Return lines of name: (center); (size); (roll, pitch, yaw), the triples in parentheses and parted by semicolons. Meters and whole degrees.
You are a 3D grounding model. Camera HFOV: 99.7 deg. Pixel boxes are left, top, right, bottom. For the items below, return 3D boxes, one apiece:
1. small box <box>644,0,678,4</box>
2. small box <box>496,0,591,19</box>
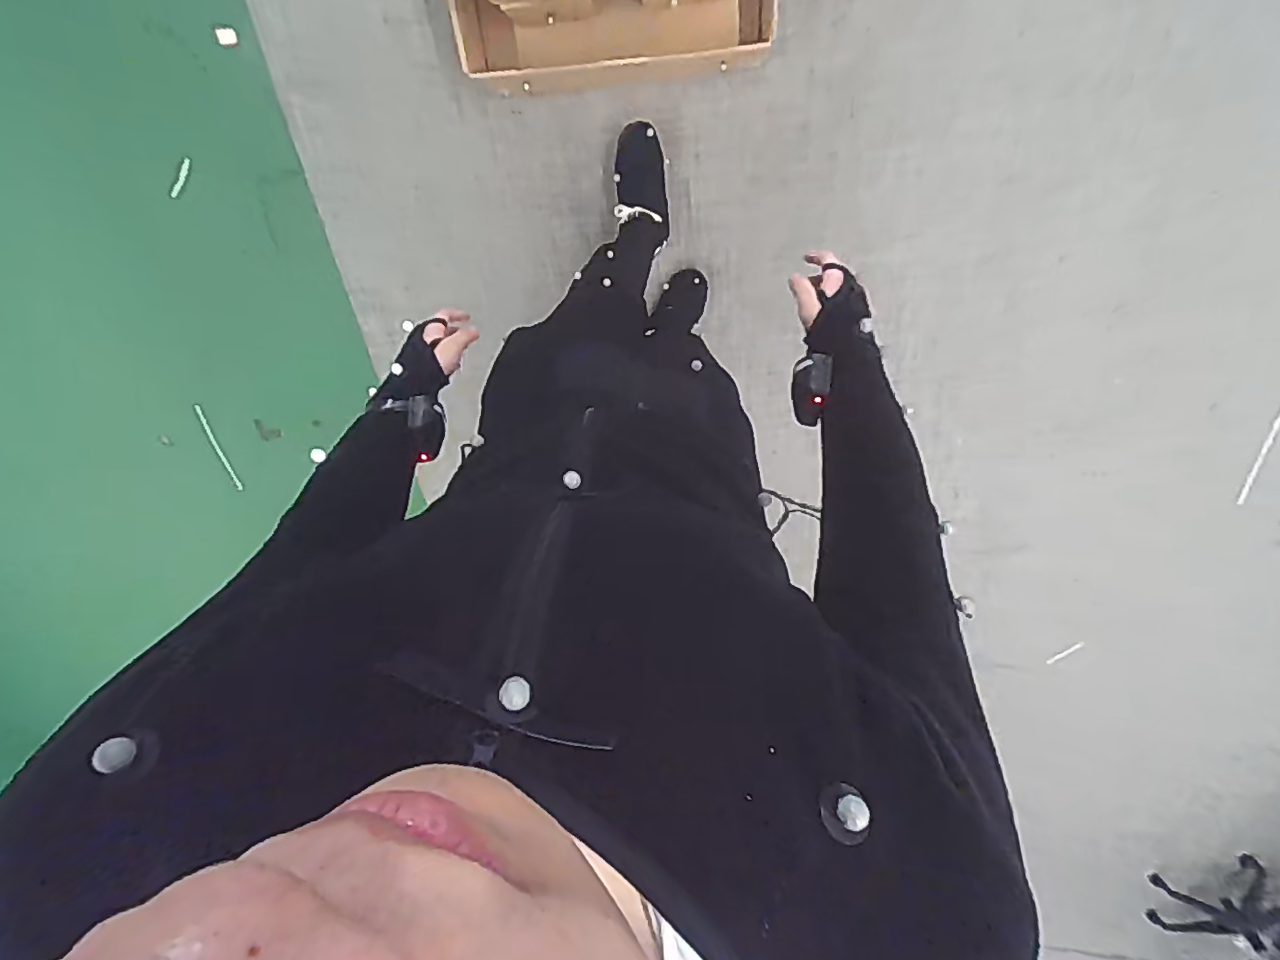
small box: (0.070, -1.011, 0.997); (0.168, 0.176, 0.179); (-3, 120, 6)
small box: (-0.191, -1.001, 1.020); (0.168, 0.176, 0.179); (-4, 120, 5)
